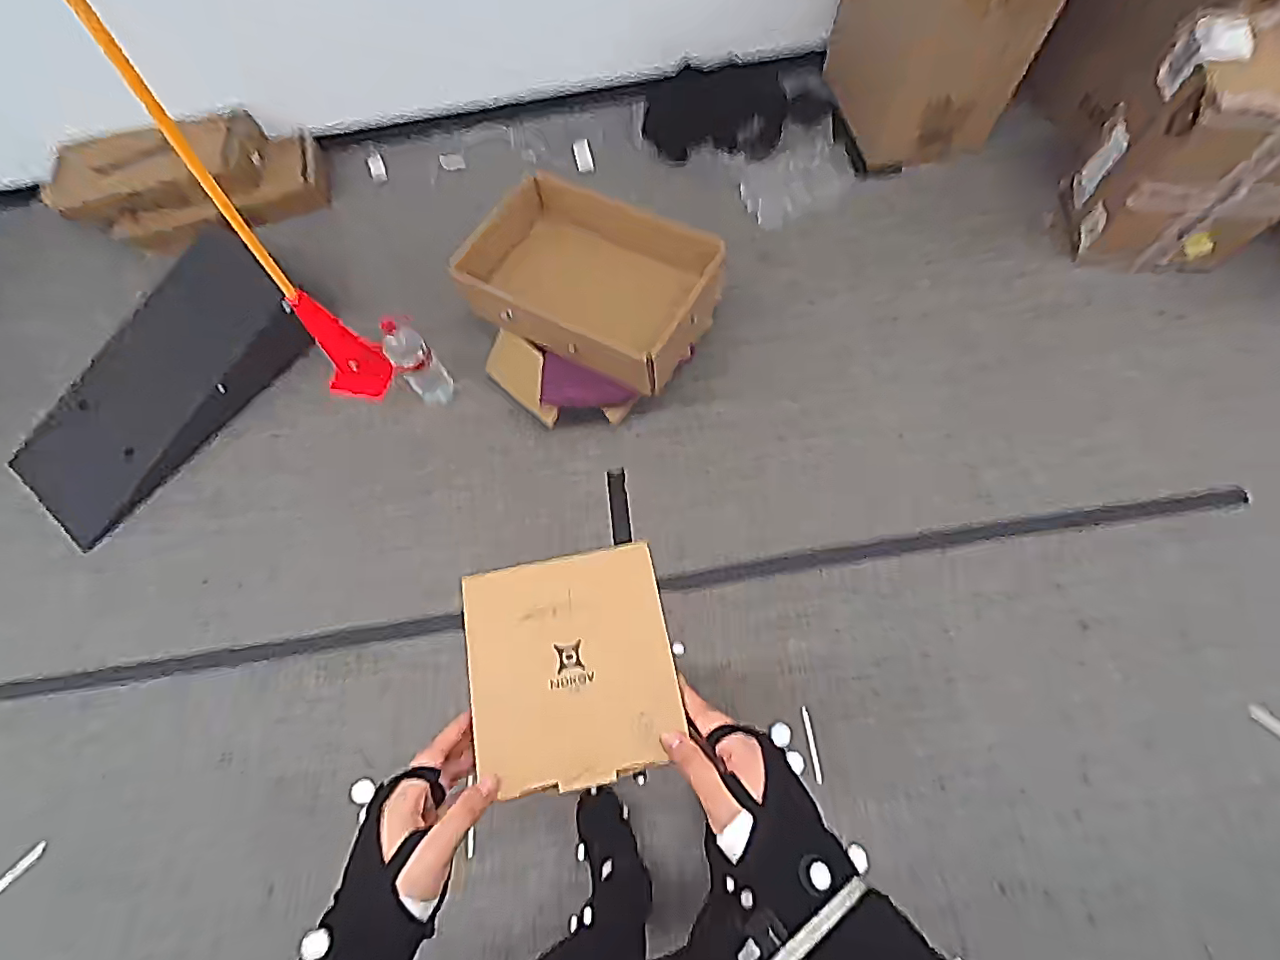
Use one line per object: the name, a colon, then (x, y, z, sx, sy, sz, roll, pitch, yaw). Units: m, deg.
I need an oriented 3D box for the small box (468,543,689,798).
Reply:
small box: (-0.054, 0.178, 0.519, 0.168, 0.176, 0.179, -11, 67, -4)
